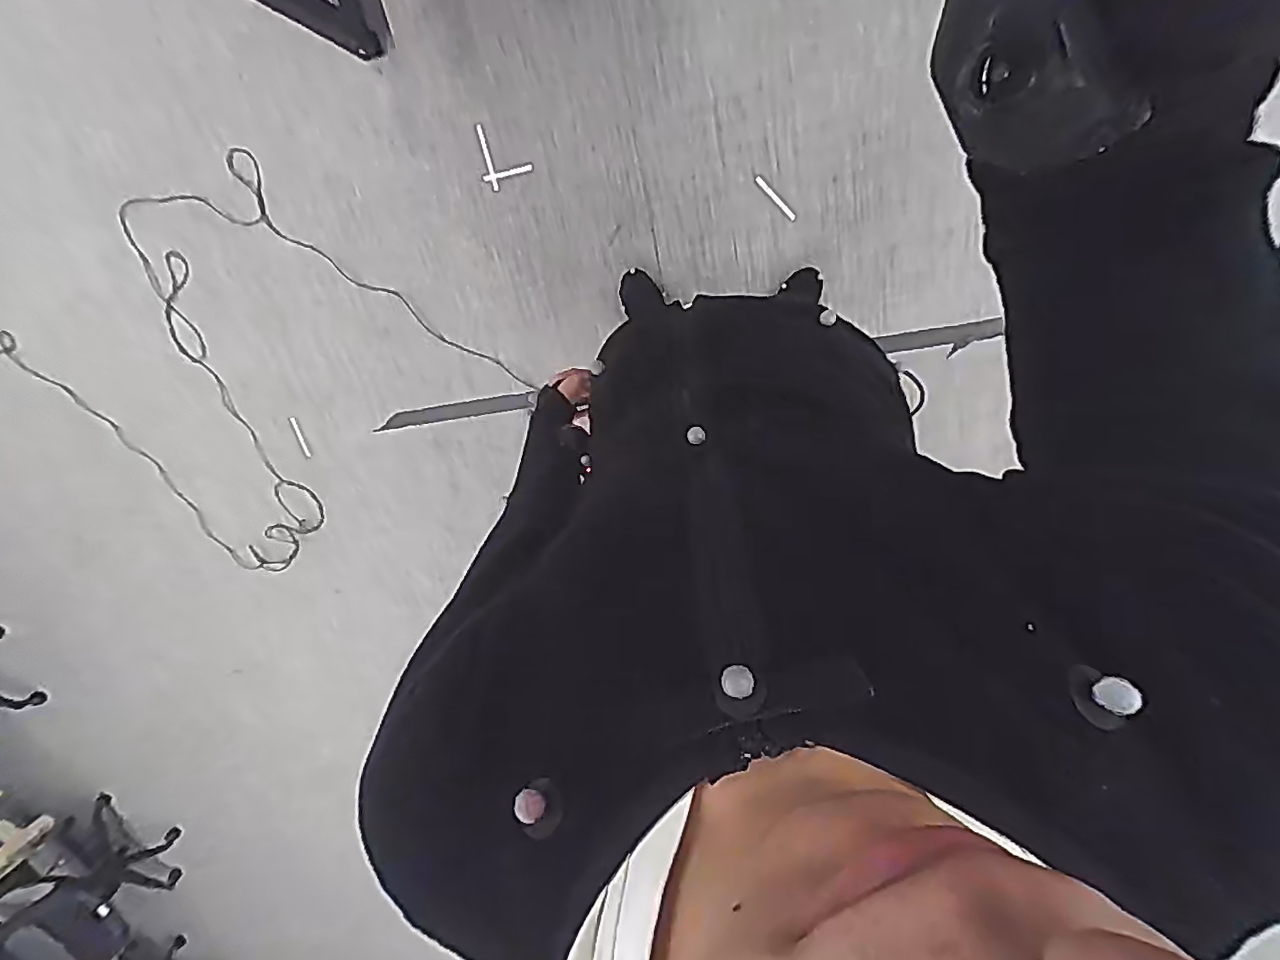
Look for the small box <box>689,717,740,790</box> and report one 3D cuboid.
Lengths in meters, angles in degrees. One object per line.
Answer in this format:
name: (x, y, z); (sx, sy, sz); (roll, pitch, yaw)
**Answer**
small box: (0.275, 1.002, 1.986); (0.168, 0.176, 0.179); (-8, 109, 9)
